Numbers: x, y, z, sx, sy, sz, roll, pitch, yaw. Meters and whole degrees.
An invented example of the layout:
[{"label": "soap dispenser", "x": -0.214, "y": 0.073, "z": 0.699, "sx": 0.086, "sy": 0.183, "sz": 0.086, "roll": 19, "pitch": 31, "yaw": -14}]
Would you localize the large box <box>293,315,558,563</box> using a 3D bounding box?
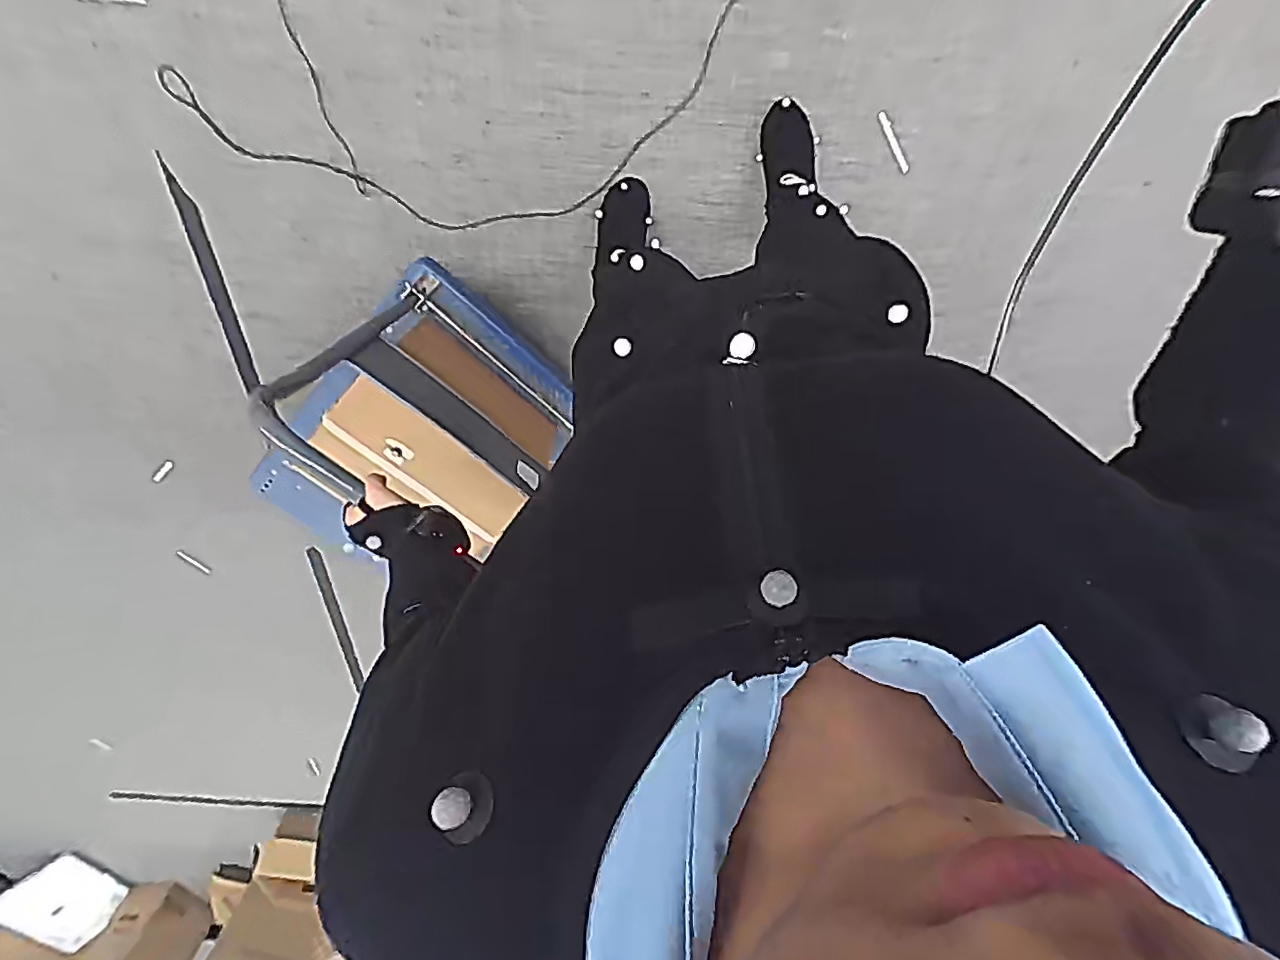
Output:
[{"label": "large box", "x": -0.453, "y": -0.091, "z": 1.233, "sx": 0.320, "sy": 0.320, "sz": 0.408, "roll": -38, "pitch": 115, "yaw": 23}]
